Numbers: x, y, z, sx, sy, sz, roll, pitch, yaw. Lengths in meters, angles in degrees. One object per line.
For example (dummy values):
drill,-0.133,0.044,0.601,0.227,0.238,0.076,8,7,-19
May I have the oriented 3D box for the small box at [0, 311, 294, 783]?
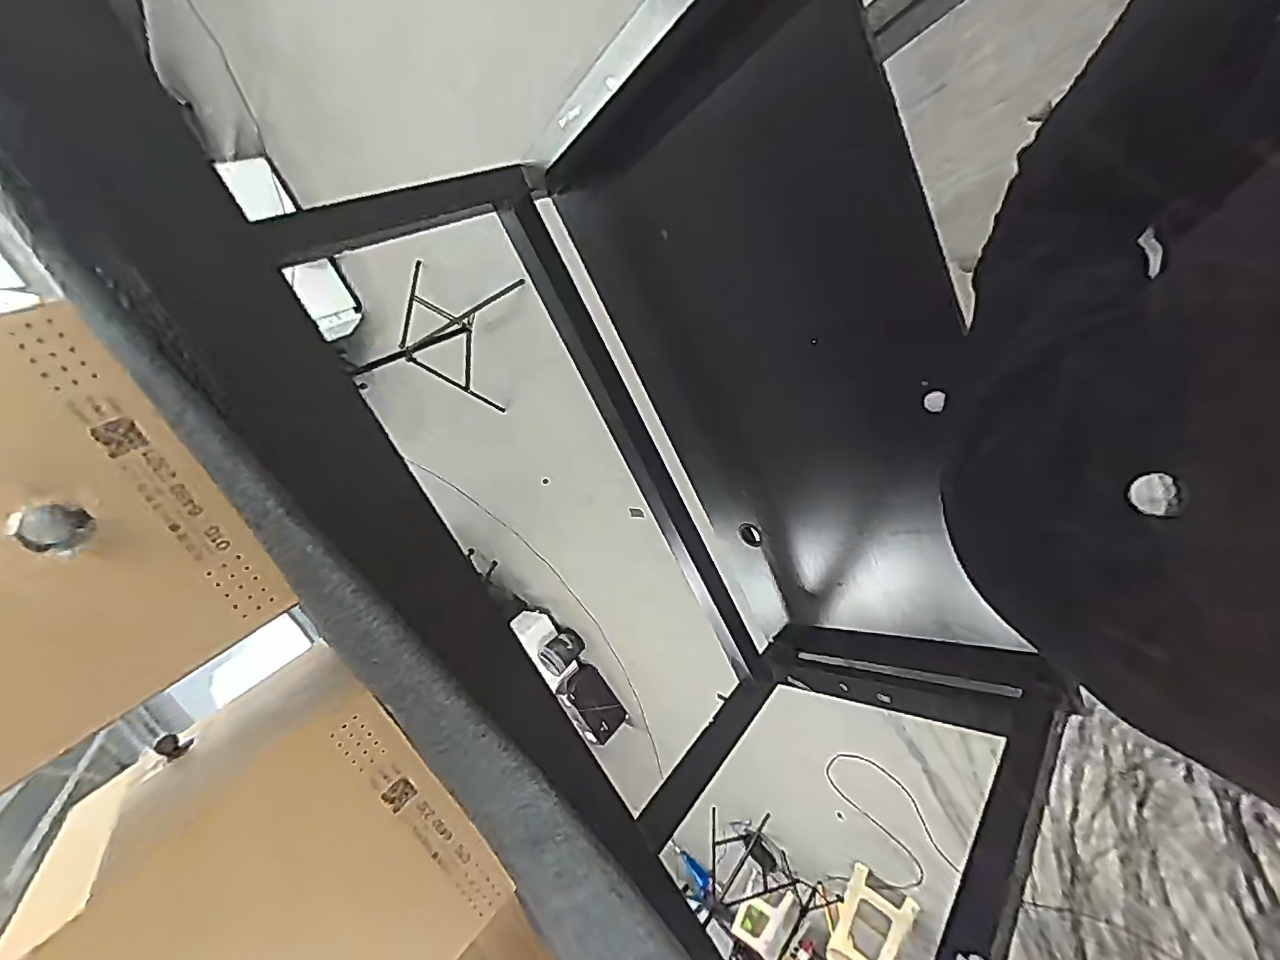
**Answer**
small box,-0.312,0.038,0.277,0.179,0.176,0.168,-6,117,52
